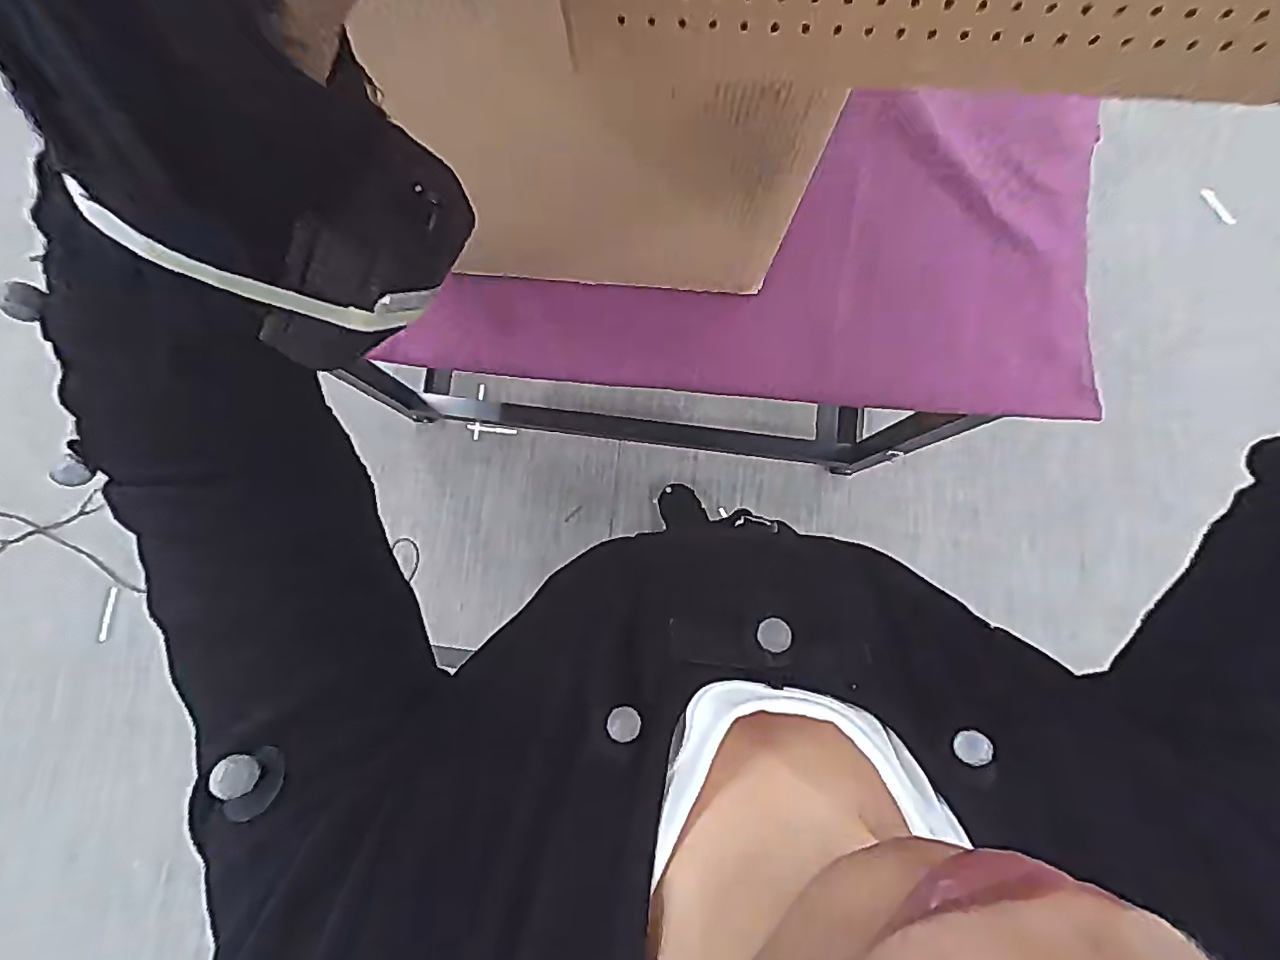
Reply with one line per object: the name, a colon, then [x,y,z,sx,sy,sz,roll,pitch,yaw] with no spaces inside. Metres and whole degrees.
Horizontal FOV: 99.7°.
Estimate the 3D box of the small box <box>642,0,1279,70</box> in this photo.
small box: [0.080,-0.178,0.045,0.179,0.176,0.168,5,86,1]
